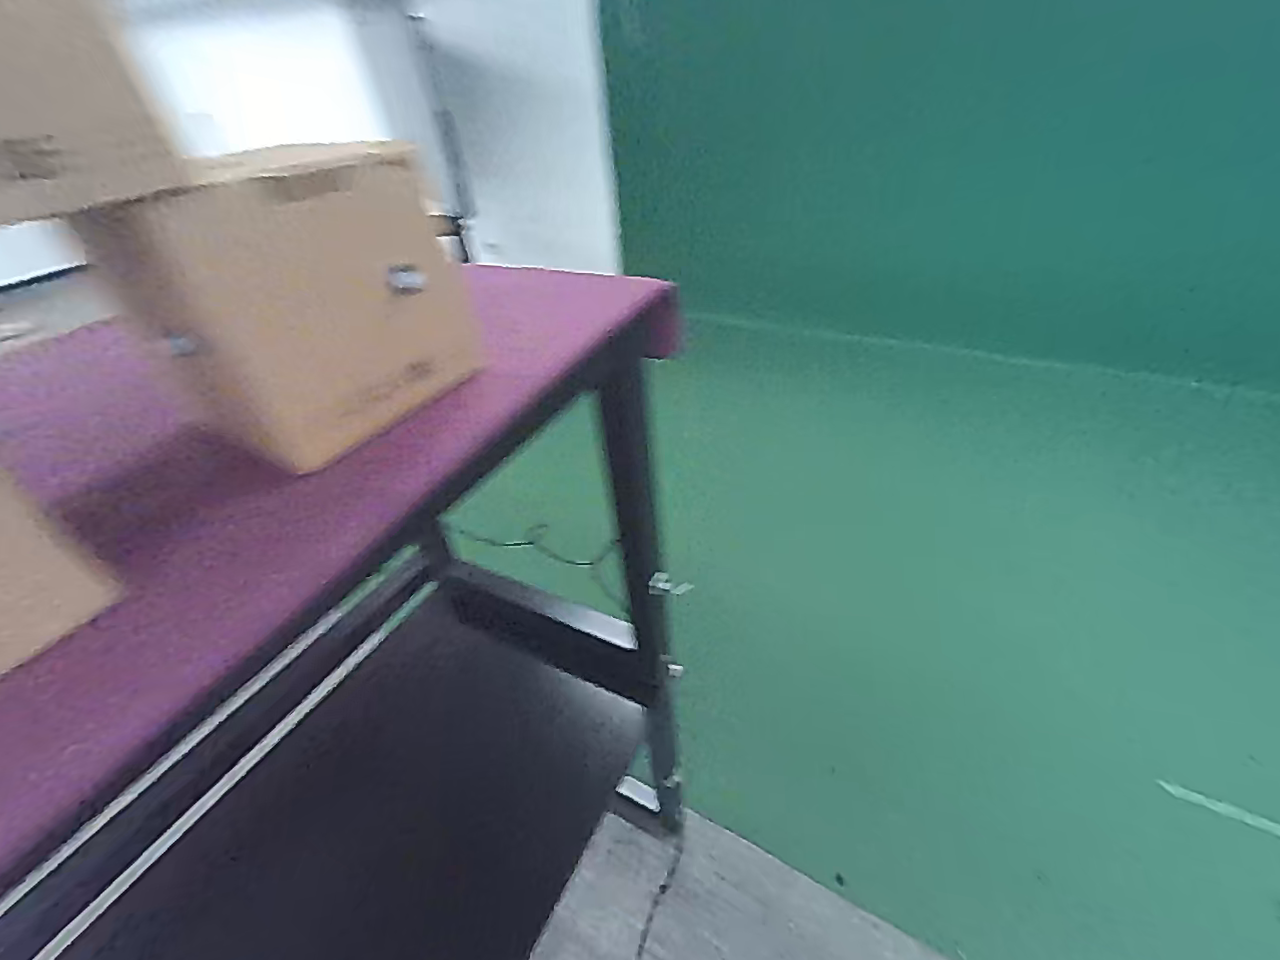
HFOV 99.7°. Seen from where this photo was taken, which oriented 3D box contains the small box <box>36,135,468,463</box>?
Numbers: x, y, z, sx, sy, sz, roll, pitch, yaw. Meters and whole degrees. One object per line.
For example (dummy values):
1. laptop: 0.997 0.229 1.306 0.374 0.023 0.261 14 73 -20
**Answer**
1. small box: -0.256 -0.133 0.389 0.179 0.176 0.168 18 44 29
